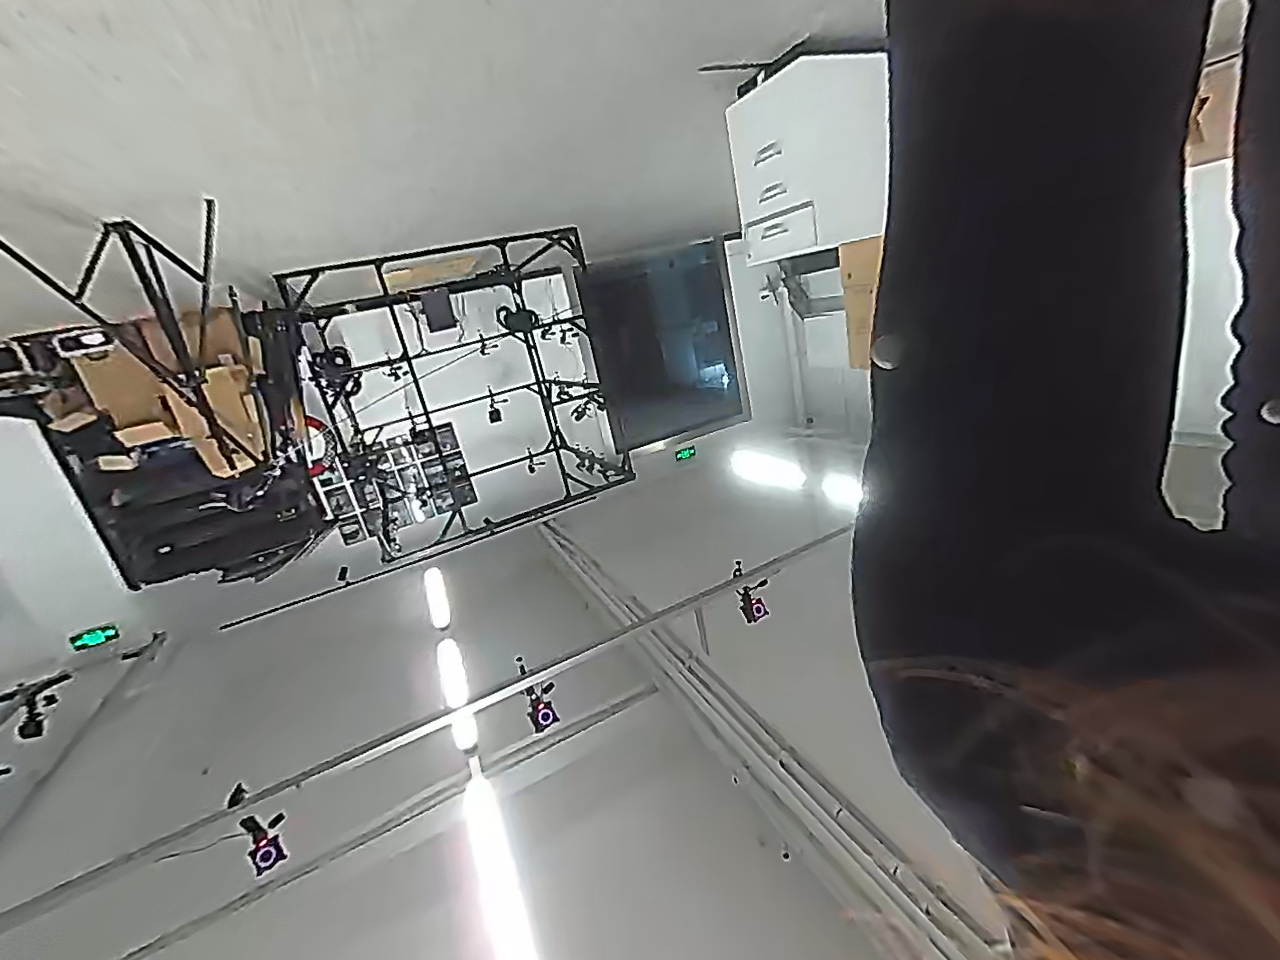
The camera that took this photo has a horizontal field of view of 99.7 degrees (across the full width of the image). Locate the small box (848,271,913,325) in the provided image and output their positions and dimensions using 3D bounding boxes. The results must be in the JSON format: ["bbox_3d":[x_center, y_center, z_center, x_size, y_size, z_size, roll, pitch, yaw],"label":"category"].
[{"bbox_3d":[0.953,-0.724,2.148,0.179,0.176,0.168,-21,-159,-21],"label":"small box"}]

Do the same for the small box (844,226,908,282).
[{"bbox_3d":[0.914,-0.877,2.100,0.168,0.176,0.179,-20,-160,-21],"label":"small box"}]
